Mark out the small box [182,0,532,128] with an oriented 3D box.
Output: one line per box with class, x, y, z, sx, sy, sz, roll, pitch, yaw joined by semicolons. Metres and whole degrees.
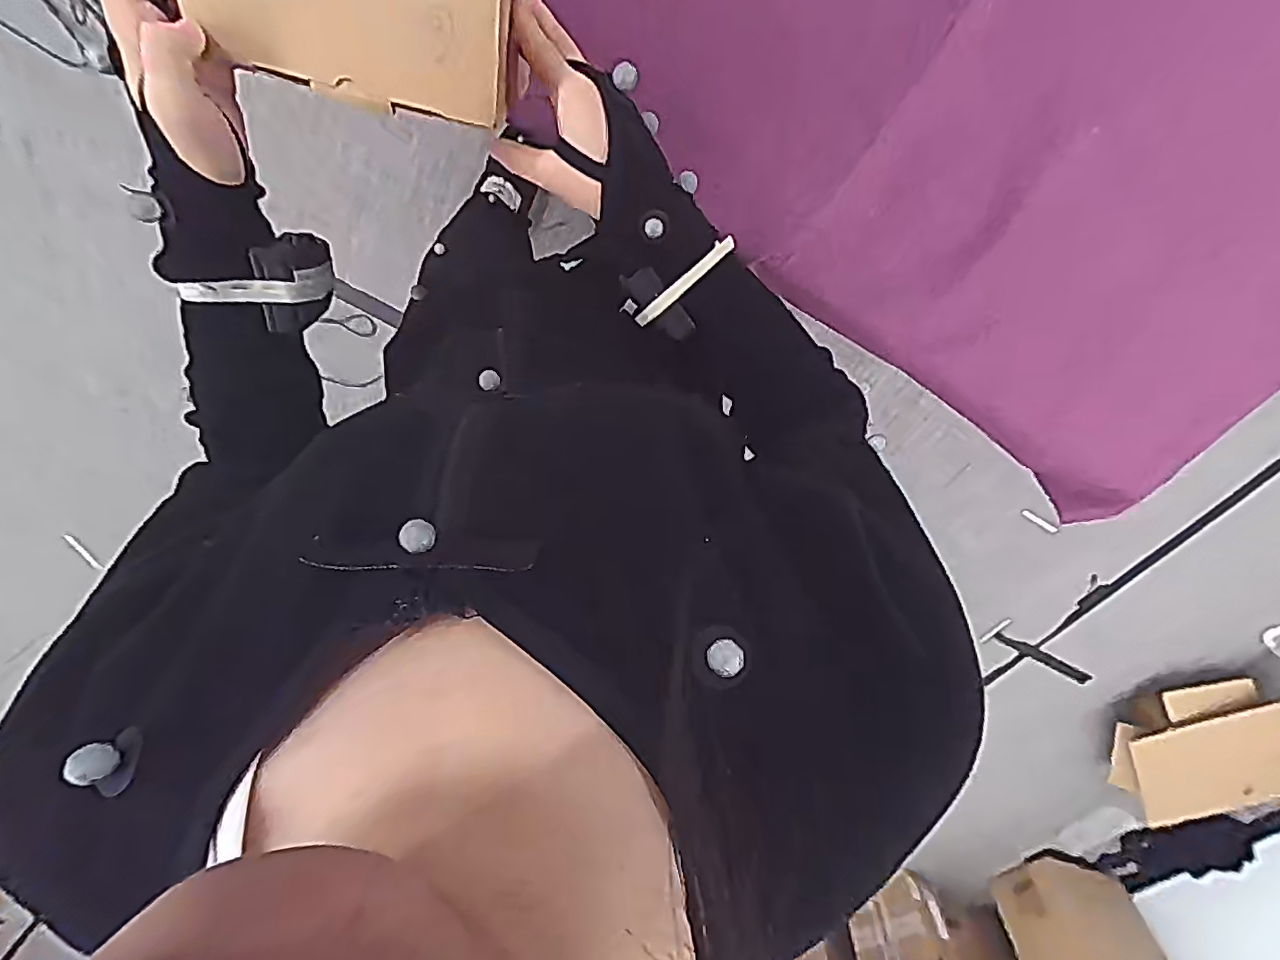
small box;-0.151;-0.343;0.316;0.168;0.176;0.179;8;132;-11
